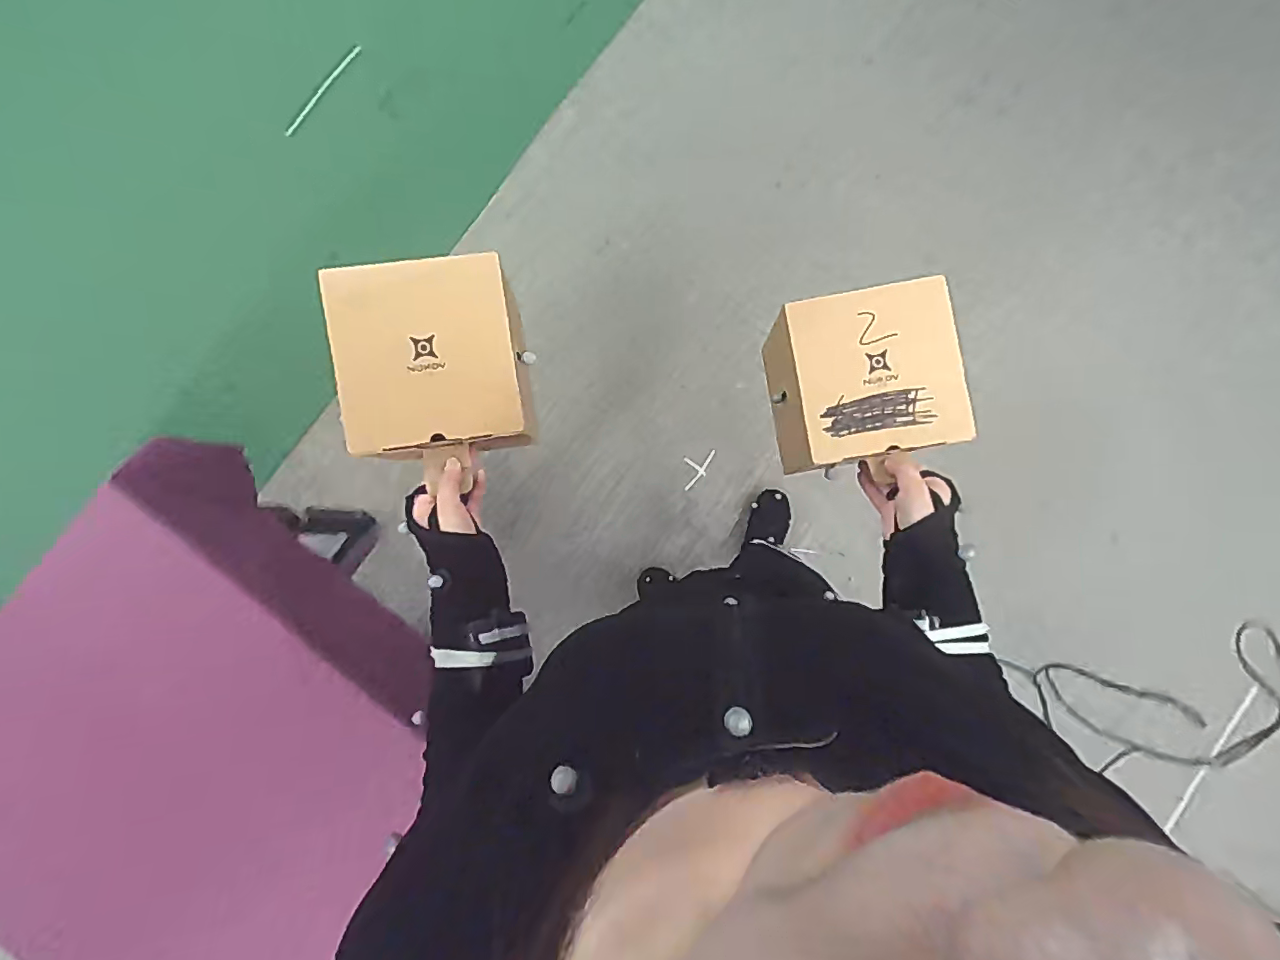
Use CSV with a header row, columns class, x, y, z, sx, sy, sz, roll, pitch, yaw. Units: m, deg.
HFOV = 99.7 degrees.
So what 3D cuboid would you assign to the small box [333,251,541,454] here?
class,x,y,z,sx,sy,sz,roll,pitch,yaw
small box,-0.202,-0.125,0.584,0.168,0.176,0.179,-7,93,-7
